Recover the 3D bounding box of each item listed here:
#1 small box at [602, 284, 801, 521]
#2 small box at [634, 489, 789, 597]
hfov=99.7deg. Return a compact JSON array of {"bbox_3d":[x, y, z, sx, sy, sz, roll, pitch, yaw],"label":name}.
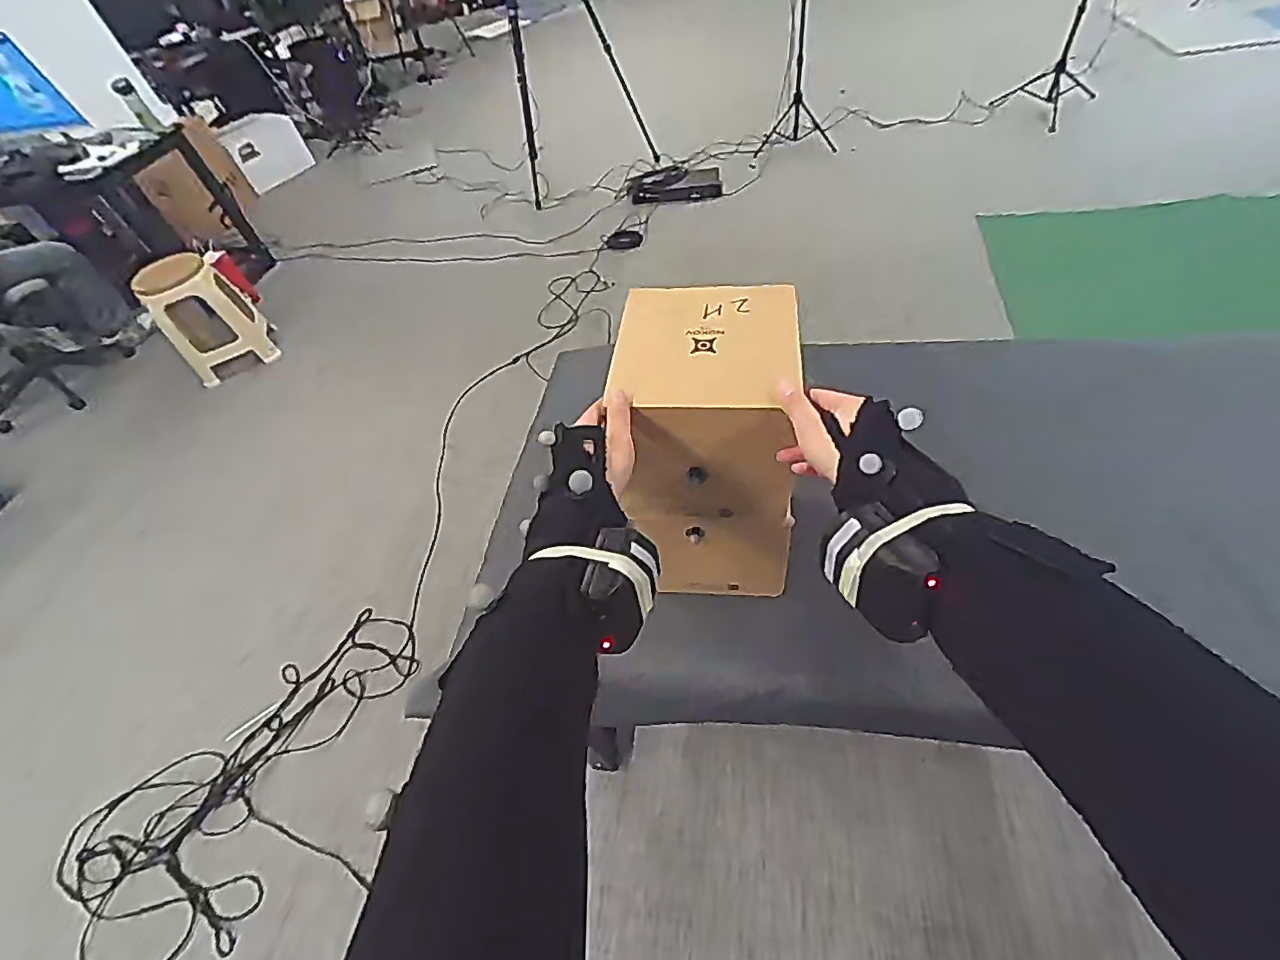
[{"bbox_3d":[0.067,-0.075,0.547,0.168,0.176,0.179,3,51,9],"label":"small box"},{"bbox_3d":[0.093,0.025,0.679,0.168,0.176,0.179,1,51,10],"label":"small box"}]
